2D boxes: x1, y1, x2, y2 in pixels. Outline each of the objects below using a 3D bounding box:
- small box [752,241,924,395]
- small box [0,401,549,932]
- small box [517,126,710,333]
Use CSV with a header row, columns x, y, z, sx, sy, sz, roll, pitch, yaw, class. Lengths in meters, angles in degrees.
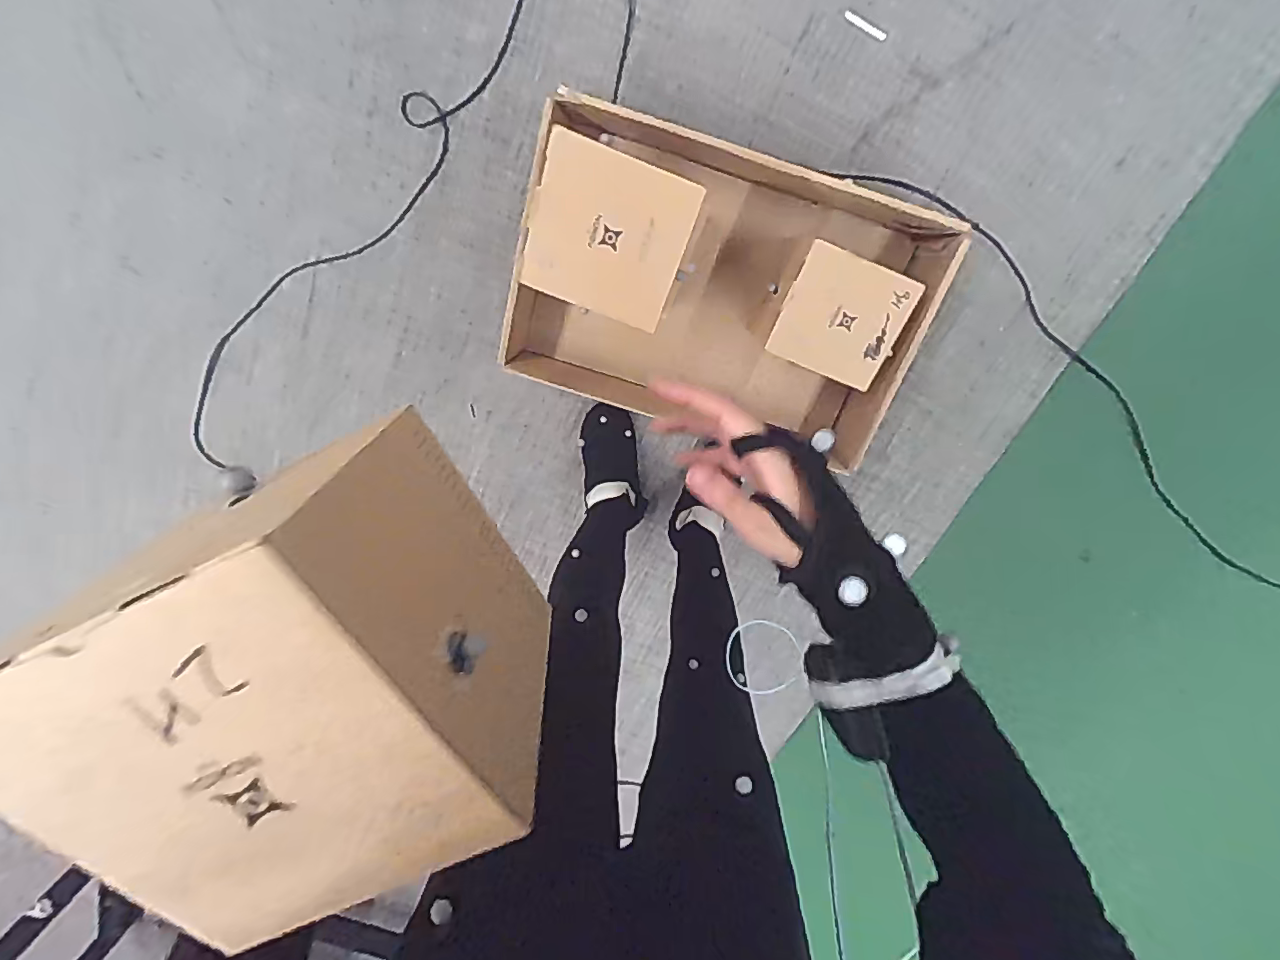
x,y,z,sx,sy,sz,roll,pitch,yaw,class
0.294,-0.257,0.853,0.179,0.176,0.168,23,112,-6,small box
-0.158,0.081,0.291,0.168,0.176,0.179,-24,113,3,small box
-0.029,-0.303,0.674,0.179,0.176,0.168,21,114,-7,small box
